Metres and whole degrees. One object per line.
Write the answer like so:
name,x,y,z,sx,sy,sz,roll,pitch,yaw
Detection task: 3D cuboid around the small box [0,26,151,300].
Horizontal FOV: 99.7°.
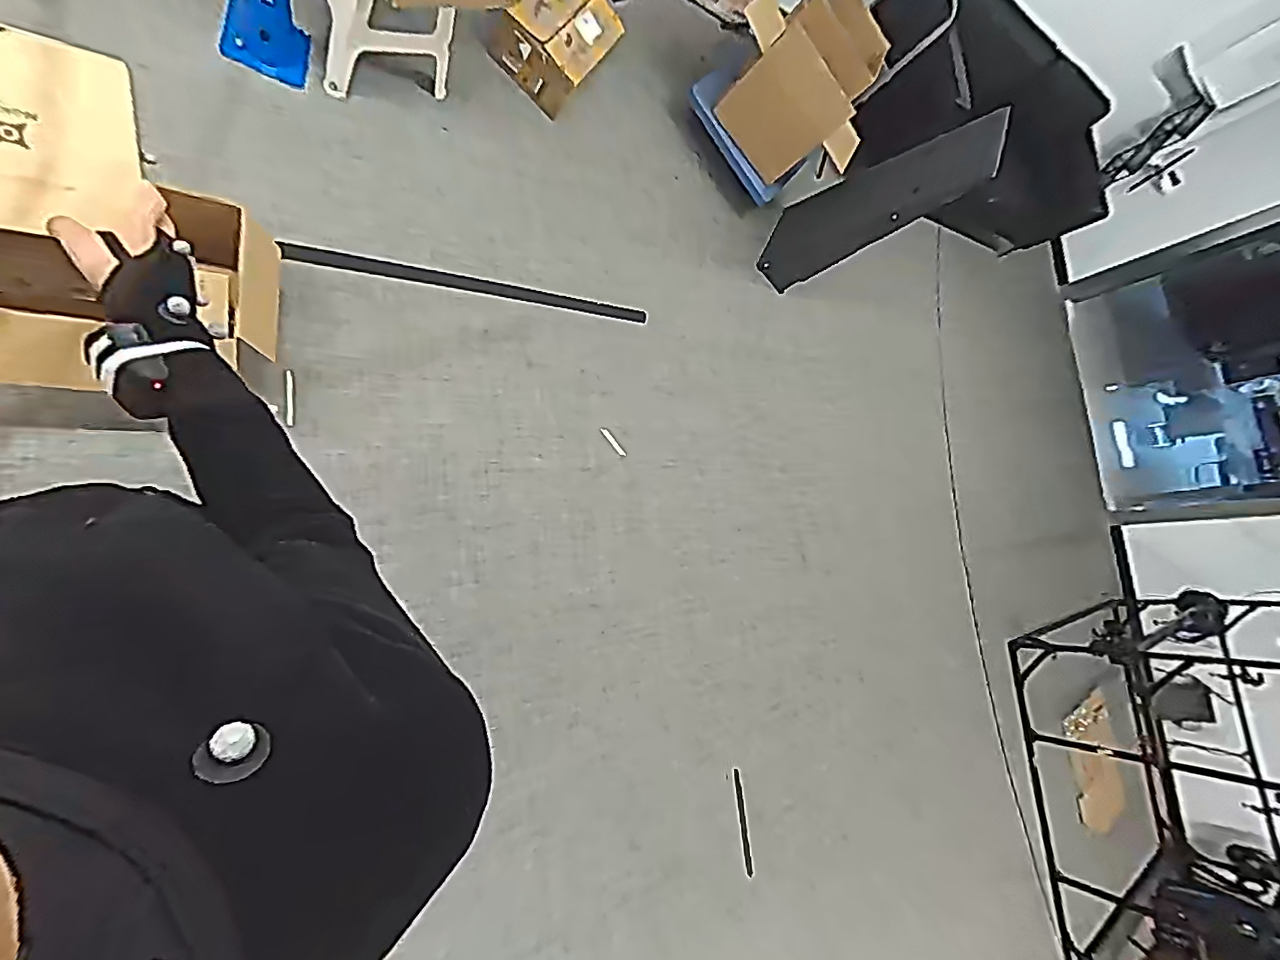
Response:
small box,-0.586,-0.293,0.514,0.168,0.176,0.179,-7,91,-42
